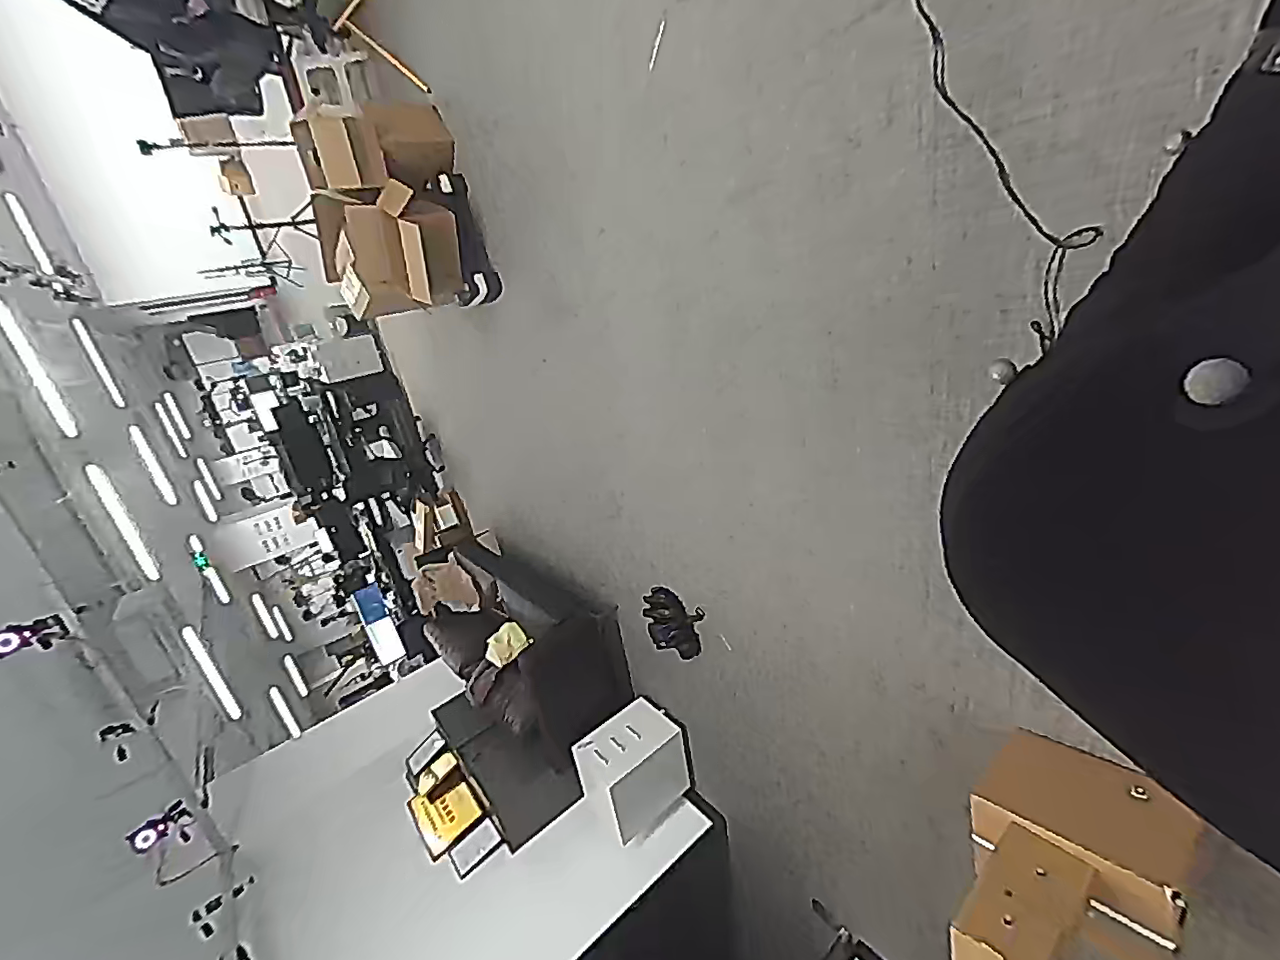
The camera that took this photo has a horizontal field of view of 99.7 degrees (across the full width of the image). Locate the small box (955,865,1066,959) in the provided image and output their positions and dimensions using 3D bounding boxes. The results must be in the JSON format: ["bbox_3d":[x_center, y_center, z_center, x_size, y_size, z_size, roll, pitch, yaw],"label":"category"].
[{"bbox_3d":[0.833,1.029,1.217,0.168,0.176,0.179,12,120,51],"label":"small box"}]

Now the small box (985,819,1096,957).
[{"bbox_3d":[0.957,0.963,1.300,0.179,0.176,0.168,14,122,50],"label":"small box"}]
